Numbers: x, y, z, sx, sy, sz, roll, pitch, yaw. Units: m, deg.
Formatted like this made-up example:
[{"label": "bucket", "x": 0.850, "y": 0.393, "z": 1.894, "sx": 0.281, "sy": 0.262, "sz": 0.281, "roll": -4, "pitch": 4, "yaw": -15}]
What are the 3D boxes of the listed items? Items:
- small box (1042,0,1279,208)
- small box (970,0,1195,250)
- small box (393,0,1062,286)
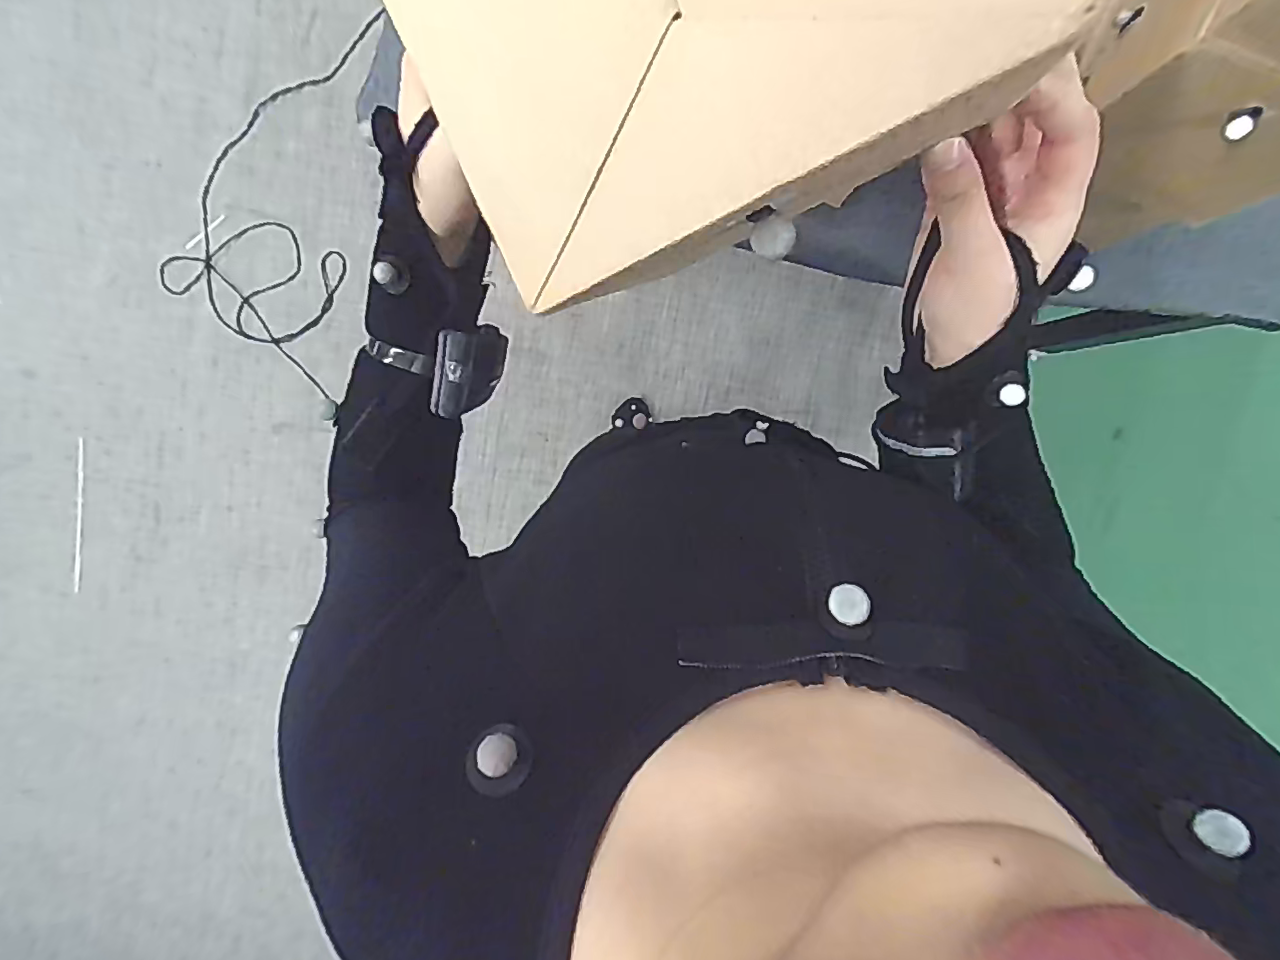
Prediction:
[{"label": "small box", "x": 0.497, "y": -0.354, "z": 0.443, "sx": 0.179, "sy": 0.176, "sz": 0.168, "roll": 24, "pitch": 96, "yaw": 1}, {"label": "small box", "x": 0.508, "y": -0.385, "z": 0.603, "sx": 0.168, "sy": 0.176, "sz": 0.179, "roll": 13, "pitch": 97, "yaw": 2}, {"label": "small box", "x": 0.025, "y": -0.188, "z": 0.206, "sx": 0.179, "sy": 0.176, "sz": 0.168, "roll": -15, "pitch": 108, "yaw": 31}]
